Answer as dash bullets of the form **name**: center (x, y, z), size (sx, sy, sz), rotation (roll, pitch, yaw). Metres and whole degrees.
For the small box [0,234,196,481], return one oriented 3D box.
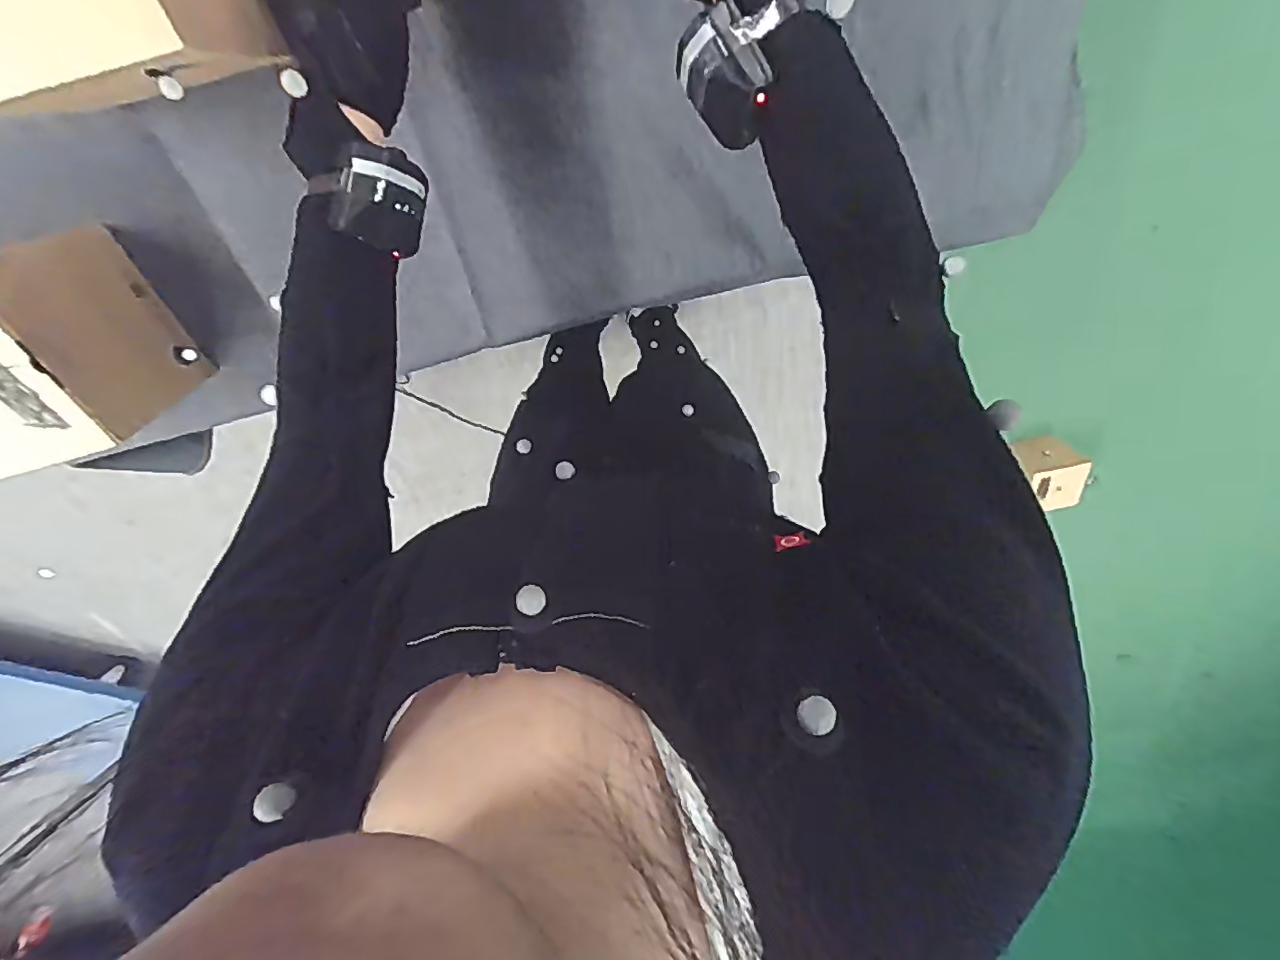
- **small box**: center (-0.583, -0.118, 0.518), size (0.179, 0.176, 0.168), rotation (-14, 125, 3)

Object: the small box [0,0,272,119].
- **small box**: center (-0.393, -0.364, 0.367), size (0.179, 0.176, 0.168), rotation (-13, 126, 2)
